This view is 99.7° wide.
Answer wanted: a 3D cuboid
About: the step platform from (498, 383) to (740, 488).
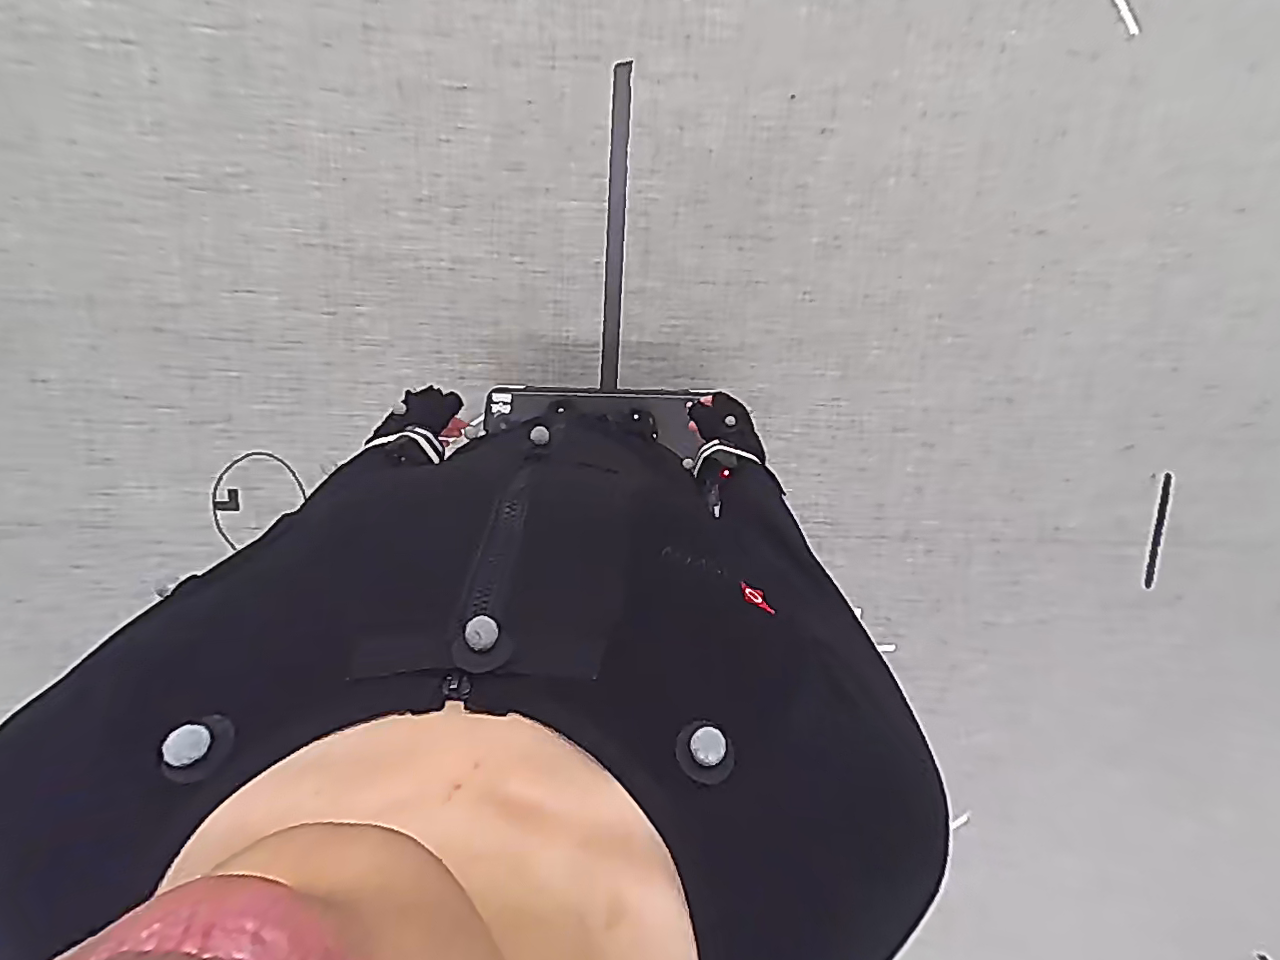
[{"bbox_3d":[-0.058,-0.131,1.555,0.684,0.204,0.286,0,100,-4],"label":"step platform"}]
